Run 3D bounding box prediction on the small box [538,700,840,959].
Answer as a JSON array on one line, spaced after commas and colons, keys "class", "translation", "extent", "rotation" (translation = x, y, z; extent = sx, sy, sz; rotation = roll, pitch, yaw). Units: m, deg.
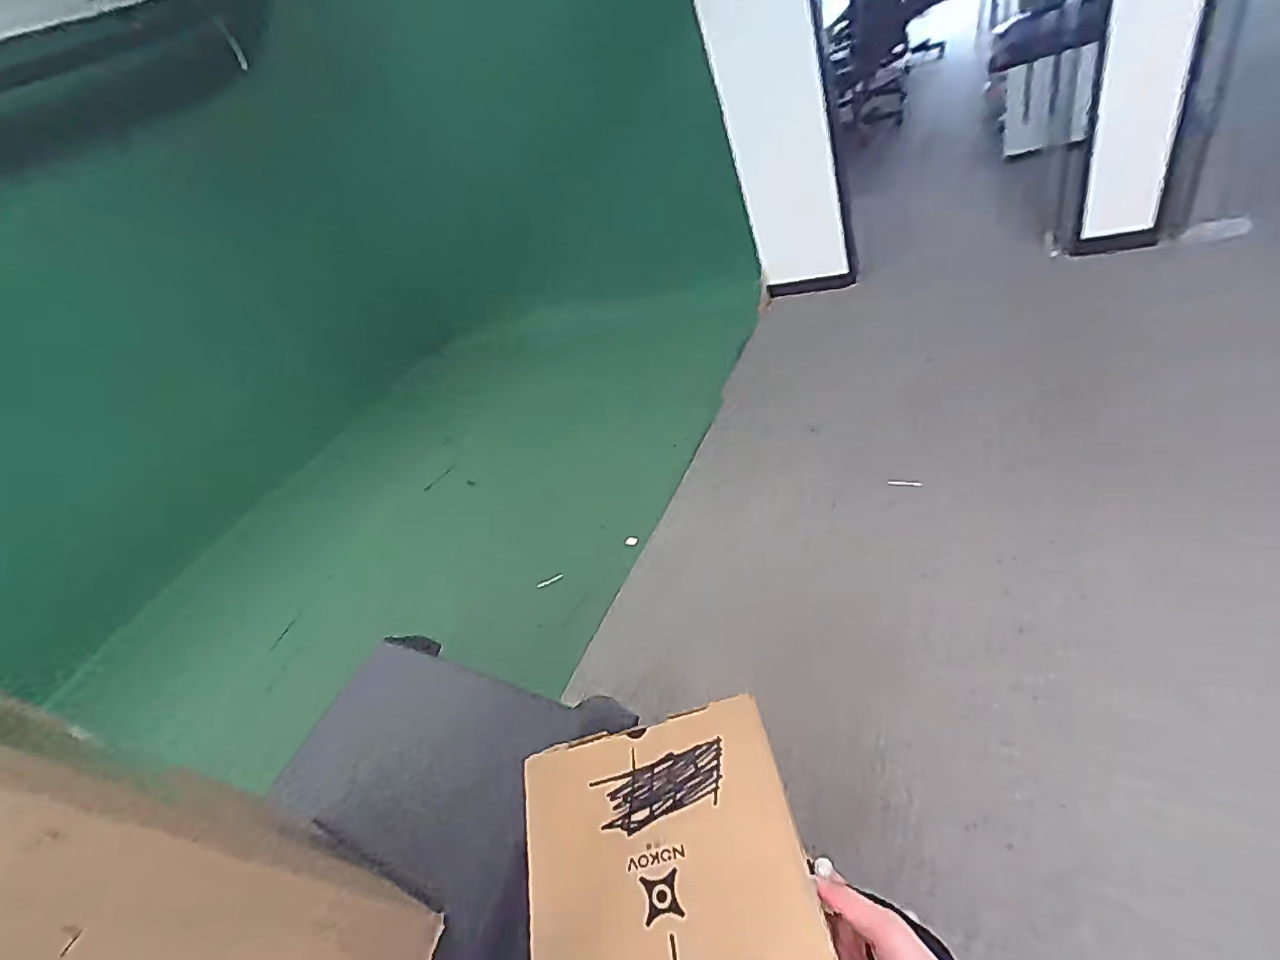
[{"class": "small box", "translation": [0.038, 0.285, 0.378], "extent": [0.168, 0.176, 0.179], "rotation": [-17, 48, 5]}]
